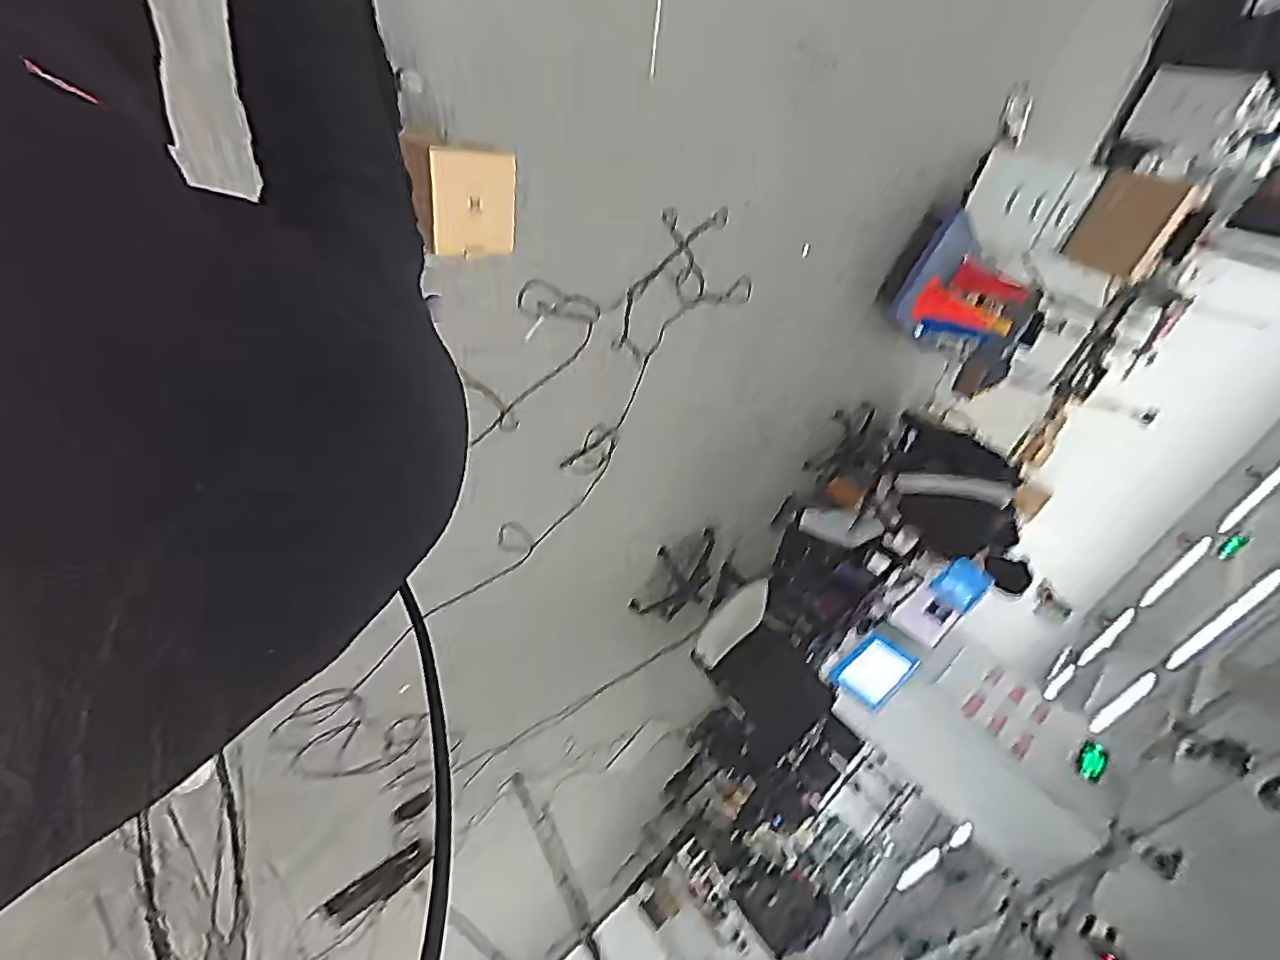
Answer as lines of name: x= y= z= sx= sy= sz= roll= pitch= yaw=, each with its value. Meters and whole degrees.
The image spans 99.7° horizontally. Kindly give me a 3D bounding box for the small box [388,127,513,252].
small box: x=-0.359 y=-0.552 z=1.031 sx=0.168 sy=0.176 sz=0.179 roll=-22 pitch=137 yaw=-37
